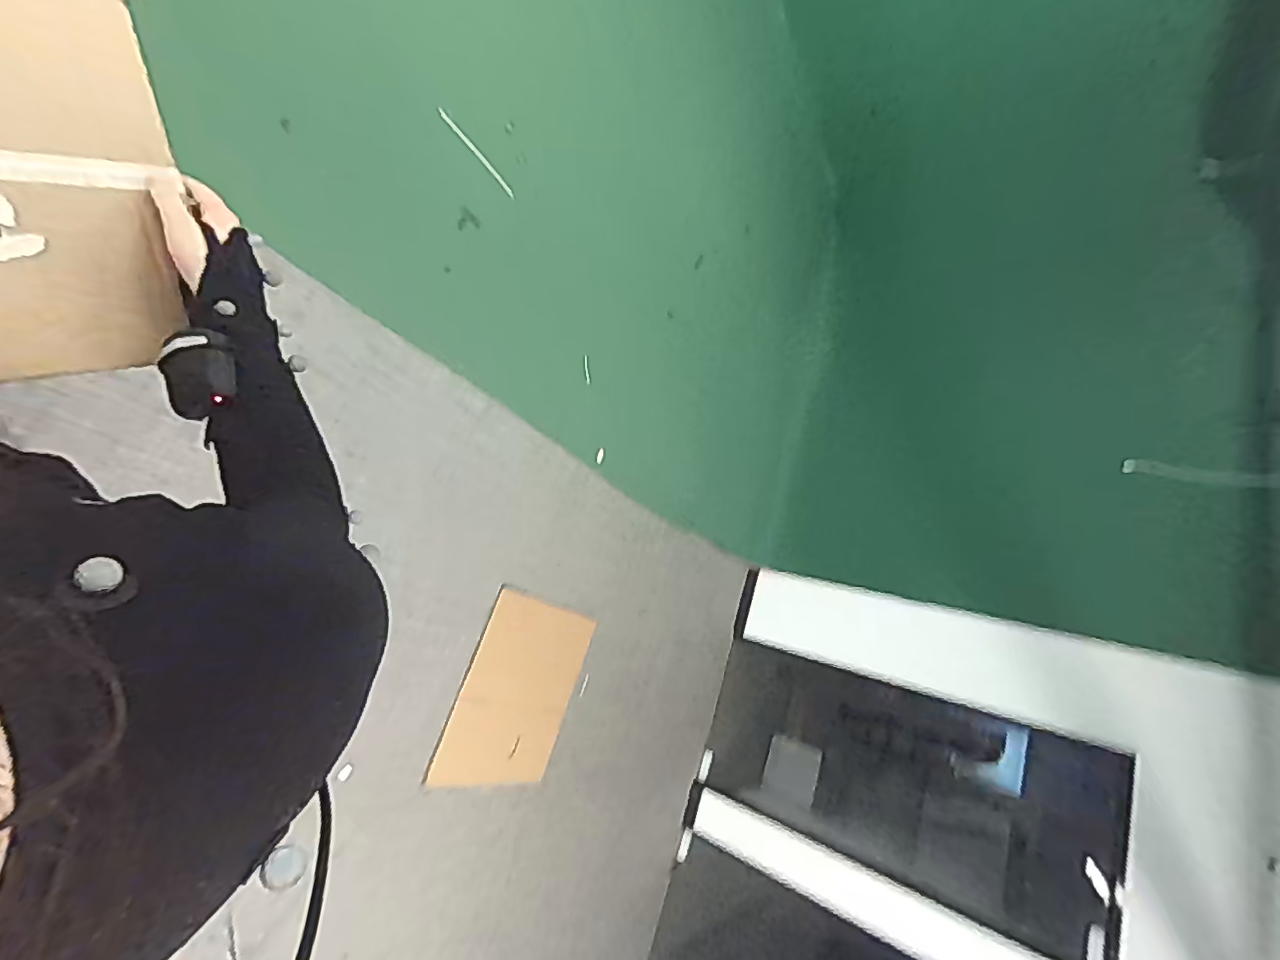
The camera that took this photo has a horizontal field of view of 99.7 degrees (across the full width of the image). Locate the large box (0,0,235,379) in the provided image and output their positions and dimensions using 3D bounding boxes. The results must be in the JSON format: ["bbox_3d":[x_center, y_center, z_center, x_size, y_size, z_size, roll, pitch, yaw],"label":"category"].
[{"bbox_3d":[-0.652,-0.235,0.431,0.408,0.320,0.320,-27,120,-49],"label":"large box"}]
